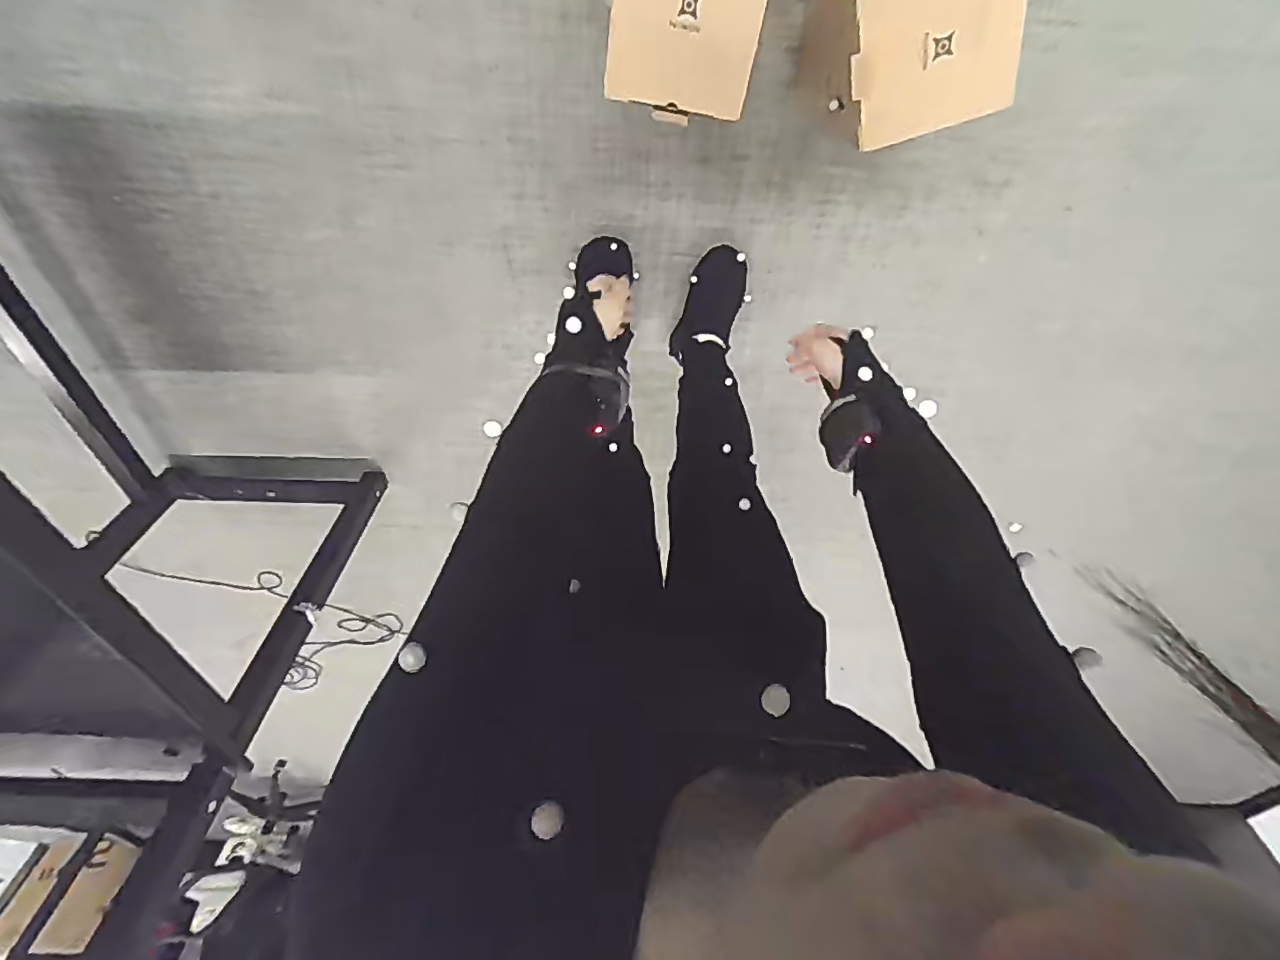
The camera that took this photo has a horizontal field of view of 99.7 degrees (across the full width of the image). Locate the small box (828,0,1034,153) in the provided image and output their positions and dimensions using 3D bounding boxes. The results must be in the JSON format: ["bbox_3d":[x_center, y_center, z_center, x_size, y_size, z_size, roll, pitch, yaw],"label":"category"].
[{"bbox_3d":[0.331,-0.523,0.645,0.179,0.176,0.168,-13,132,12],"label":"small box"}]

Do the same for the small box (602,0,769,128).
[{"bbox_3d":[0.054,-0.542,0.632,0.168,0.176,0.179,8,131,-5],"label":"small box"}]
